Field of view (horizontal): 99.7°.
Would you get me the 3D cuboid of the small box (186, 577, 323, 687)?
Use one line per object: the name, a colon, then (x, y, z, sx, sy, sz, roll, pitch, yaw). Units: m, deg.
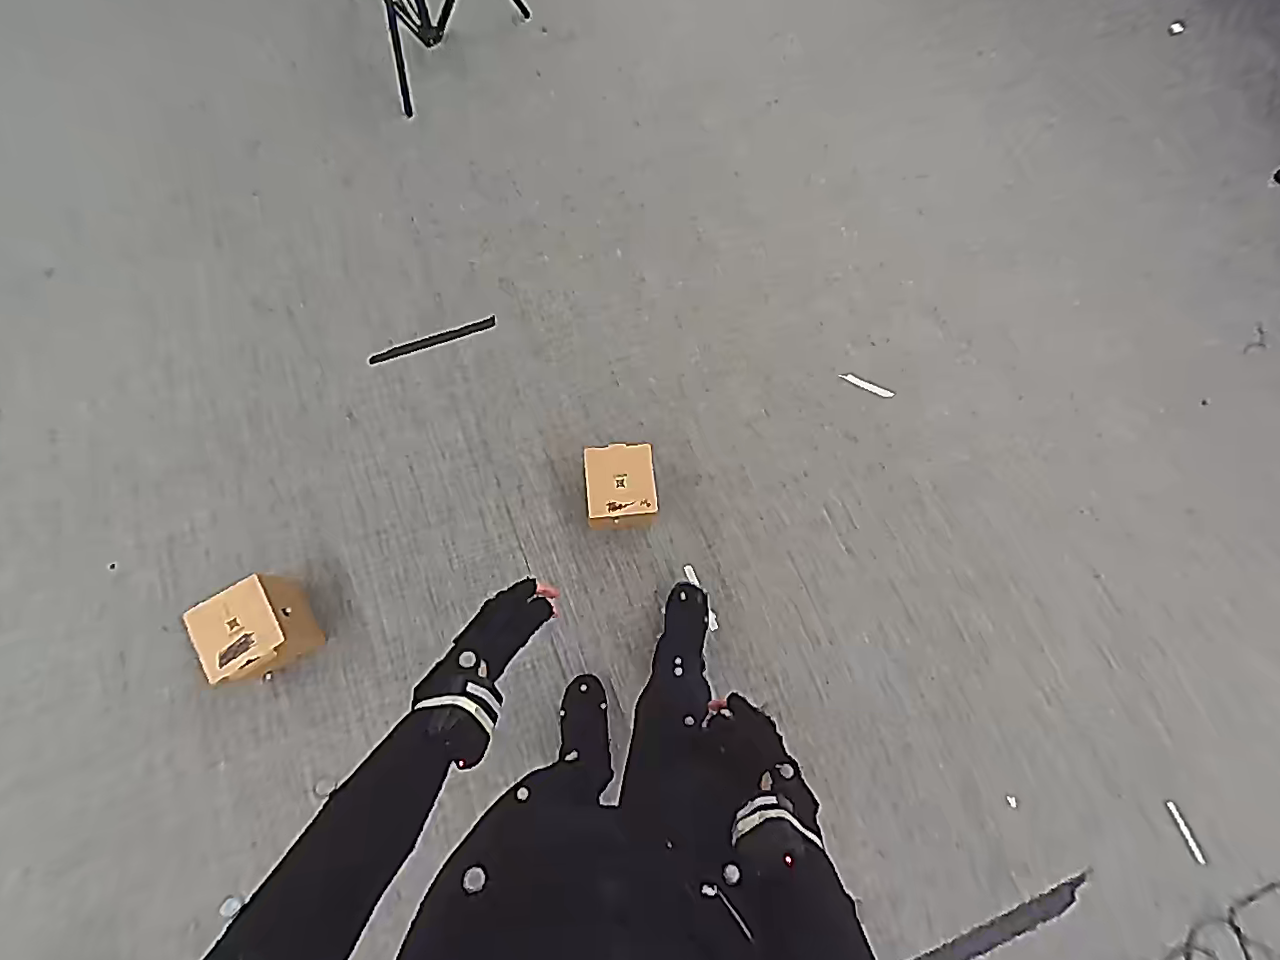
small box: (-0.865, 0.342, 1.231, 0.168, 0.176, 0.179, -31, 77, -11)

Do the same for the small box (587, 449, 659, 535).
small box: (-0.048, 0.033, 1.371, 0.168, 0.176, 0.179, -4, 74, -5)
